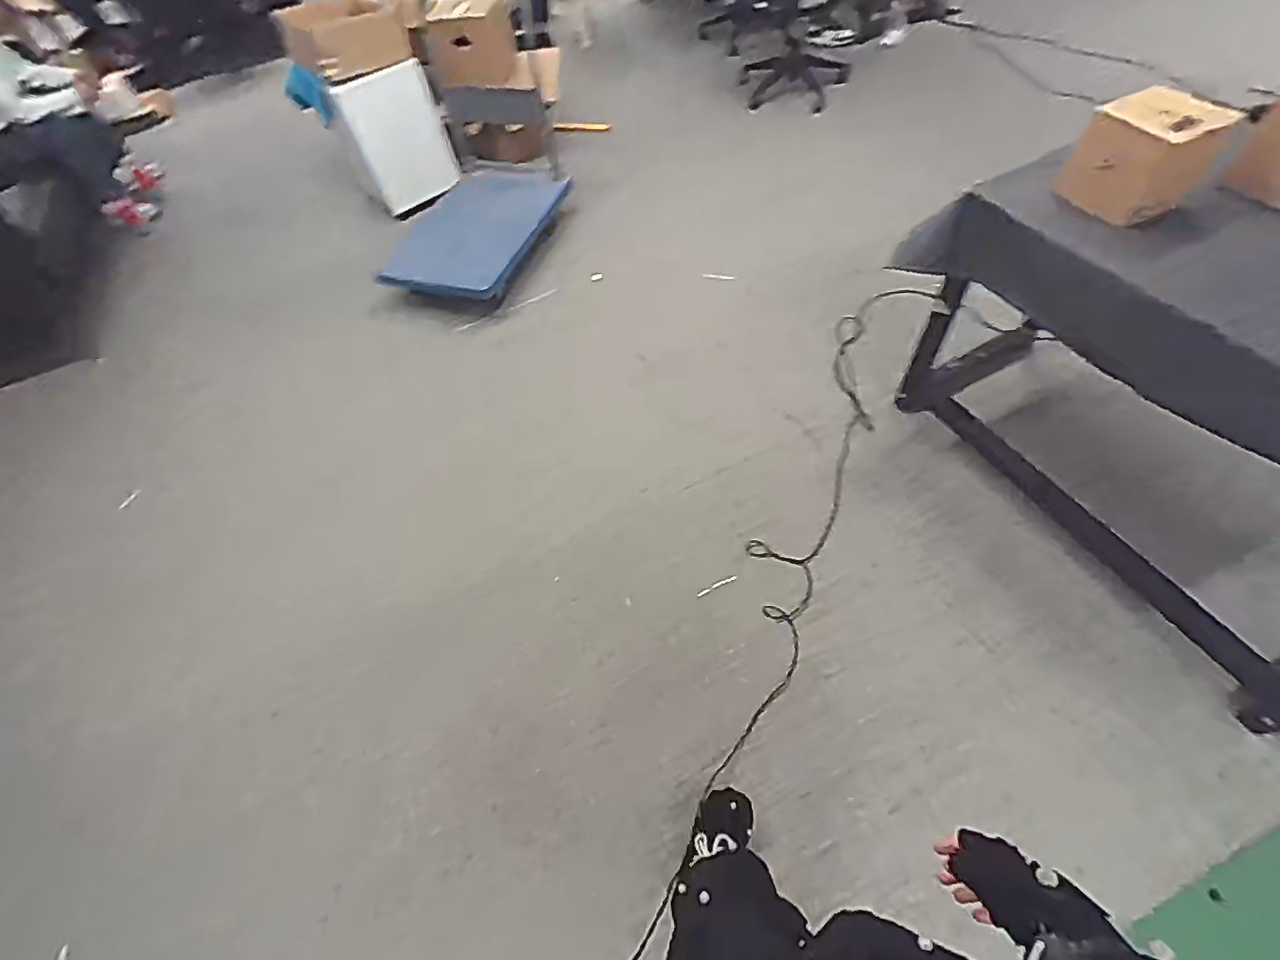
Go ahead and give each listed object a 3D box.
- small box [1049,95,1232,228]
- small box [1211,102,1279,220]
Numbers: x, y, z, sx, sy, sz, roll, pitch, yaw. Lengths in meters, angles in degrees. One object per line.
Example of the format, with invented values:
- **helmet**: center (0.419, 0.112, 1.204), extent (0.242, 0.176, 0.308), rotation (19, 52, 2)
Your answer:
- **small box**: center (1.005, -0.642, 1.105), extent (0.168, 0.176, 0.179), rotation (-23, 56, -8)
- **small box**: center (1.315, -0.638, 1.058), extent (0.168, 0.176, 0.179), rotation (-26, 57, -9)
